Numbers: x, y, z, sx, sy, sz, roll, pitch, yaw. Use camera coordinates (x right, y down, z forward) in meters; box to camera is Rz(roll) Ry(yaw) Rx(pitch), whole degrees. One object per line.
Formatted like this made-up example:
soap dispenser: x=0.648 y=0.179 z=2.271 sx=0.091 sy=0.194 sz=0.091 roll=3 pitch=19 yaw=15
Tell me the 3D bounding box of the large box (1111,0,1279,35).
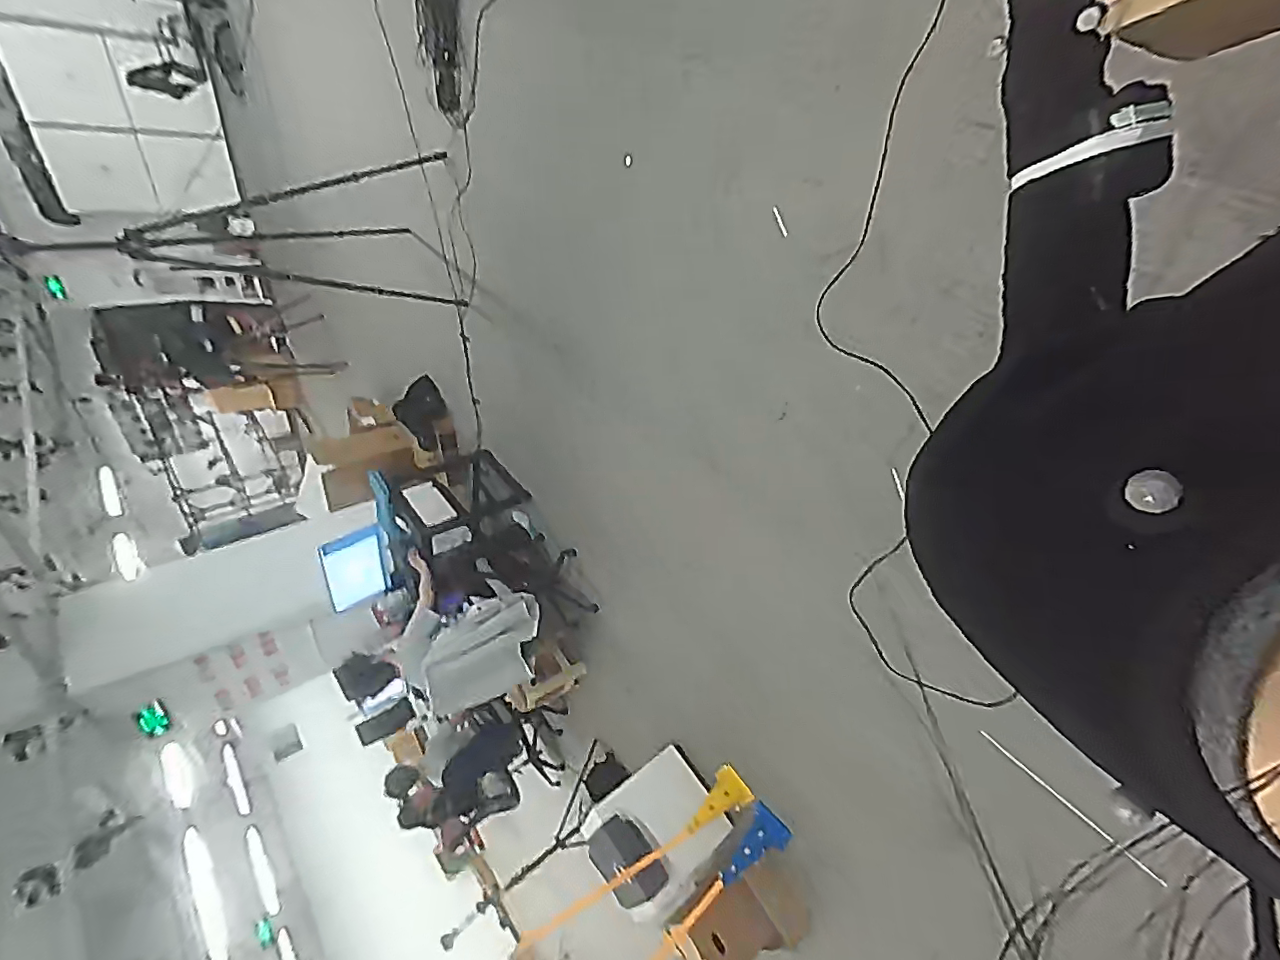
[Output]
large box: x=0.507 y=-0.482 z=0.236 sx=0.408 sy=0.320 sz=0.320 roll=9 pitch=120 yaw=51
